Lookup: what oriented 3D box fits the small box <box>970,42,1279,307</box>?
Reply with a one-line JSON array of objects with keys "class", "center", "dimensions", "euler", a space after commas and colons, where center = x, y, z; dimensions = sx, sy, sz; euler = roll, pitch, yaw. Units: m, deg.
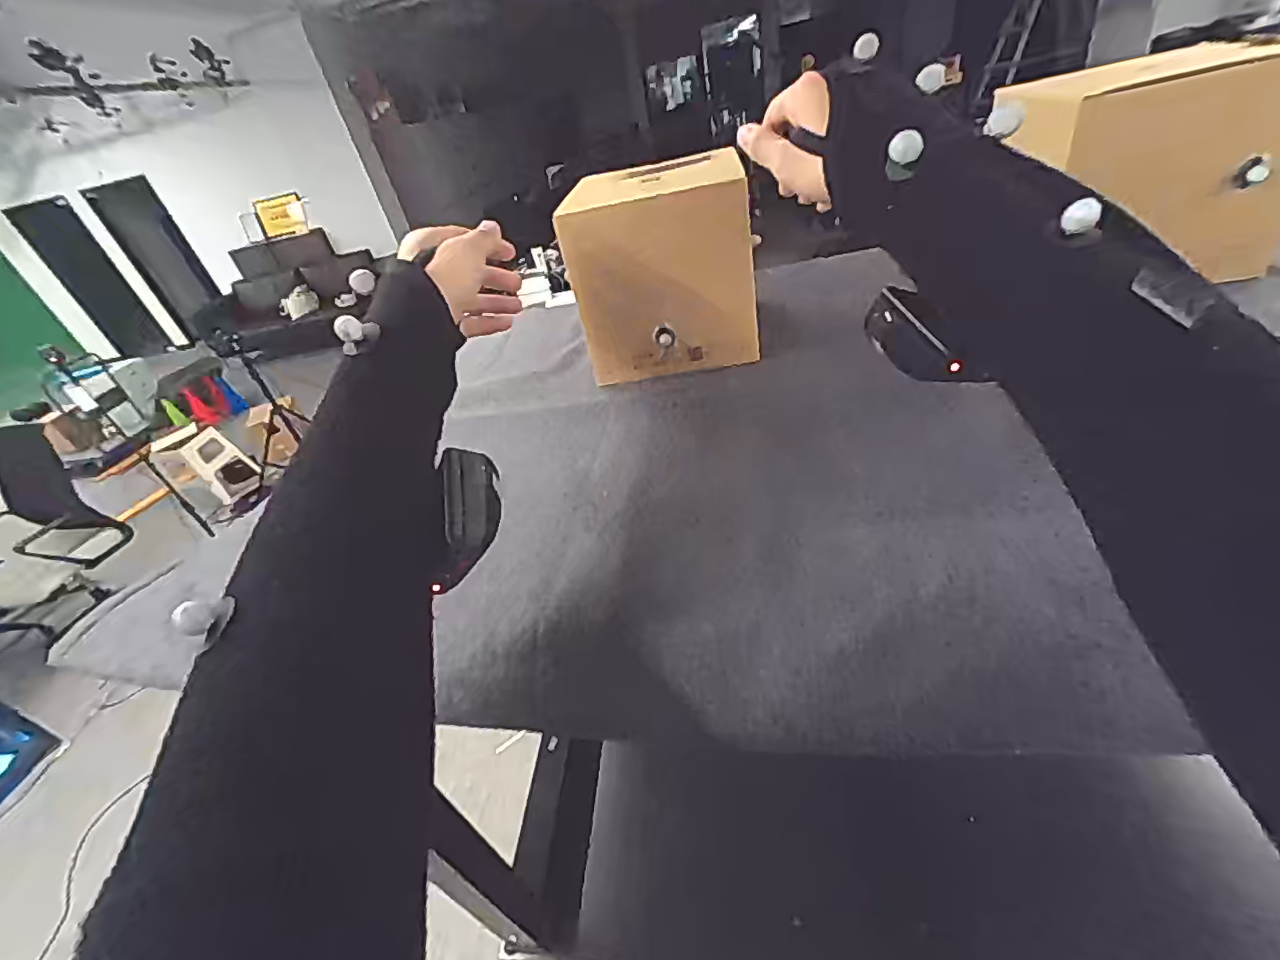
[{"class": "small box", "center": [0.434, -0.275, 0.494], "dimensions": [0.179, 0.176, 0.168], "euler": [-5, 36, 12]}]
